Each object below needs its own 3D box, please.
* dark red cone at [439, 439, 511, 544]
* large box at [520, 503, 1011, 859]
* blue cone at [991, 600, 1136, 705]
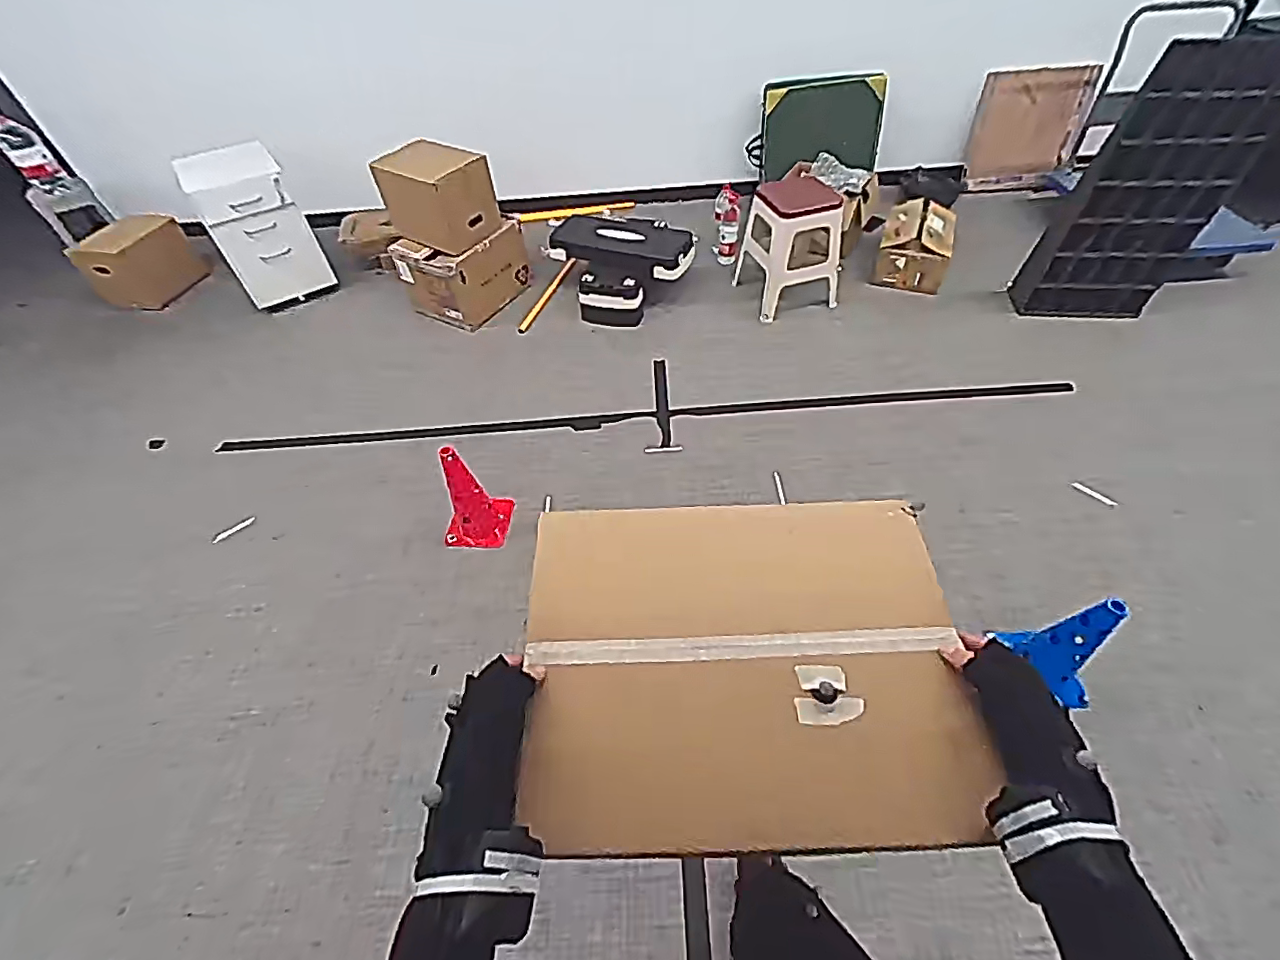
[{"bbox_3d":[-0.547,0.024,1.677,0.201,0.394,0.202,2,50,4],"label":"dark red cone"},{"bbox_3d":[0.097,0.246,0.636,0.408,0.320,0.320,-2,55,0],"label":"large box"},{"bbox_3d":[1.038,0.391,1.299,0.192,0.380,0.193,0,50,3],"label":"blue cone"}]
